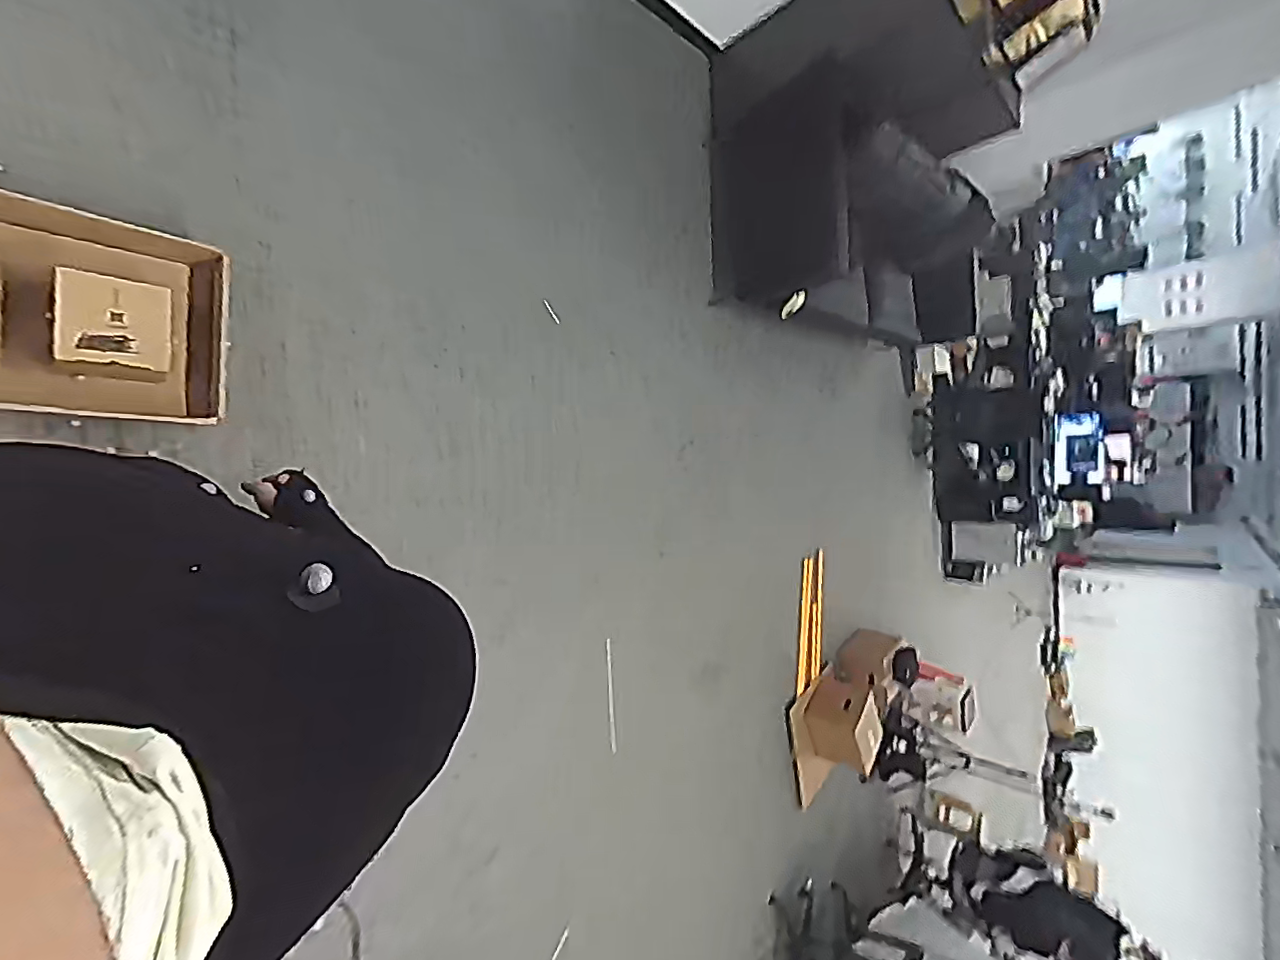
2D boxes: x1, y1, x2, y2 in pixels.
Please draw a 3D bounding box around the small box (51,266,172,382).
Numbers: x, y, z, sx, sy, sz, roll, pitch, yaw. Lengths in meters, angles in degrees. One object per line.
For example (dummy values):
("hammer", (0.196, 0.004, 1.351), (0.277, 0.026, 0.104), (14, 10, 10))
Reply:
("small box", (-1.076, -0.305, 1.107), (0.168, 0.176, 0.179), (2, 86, -45))
